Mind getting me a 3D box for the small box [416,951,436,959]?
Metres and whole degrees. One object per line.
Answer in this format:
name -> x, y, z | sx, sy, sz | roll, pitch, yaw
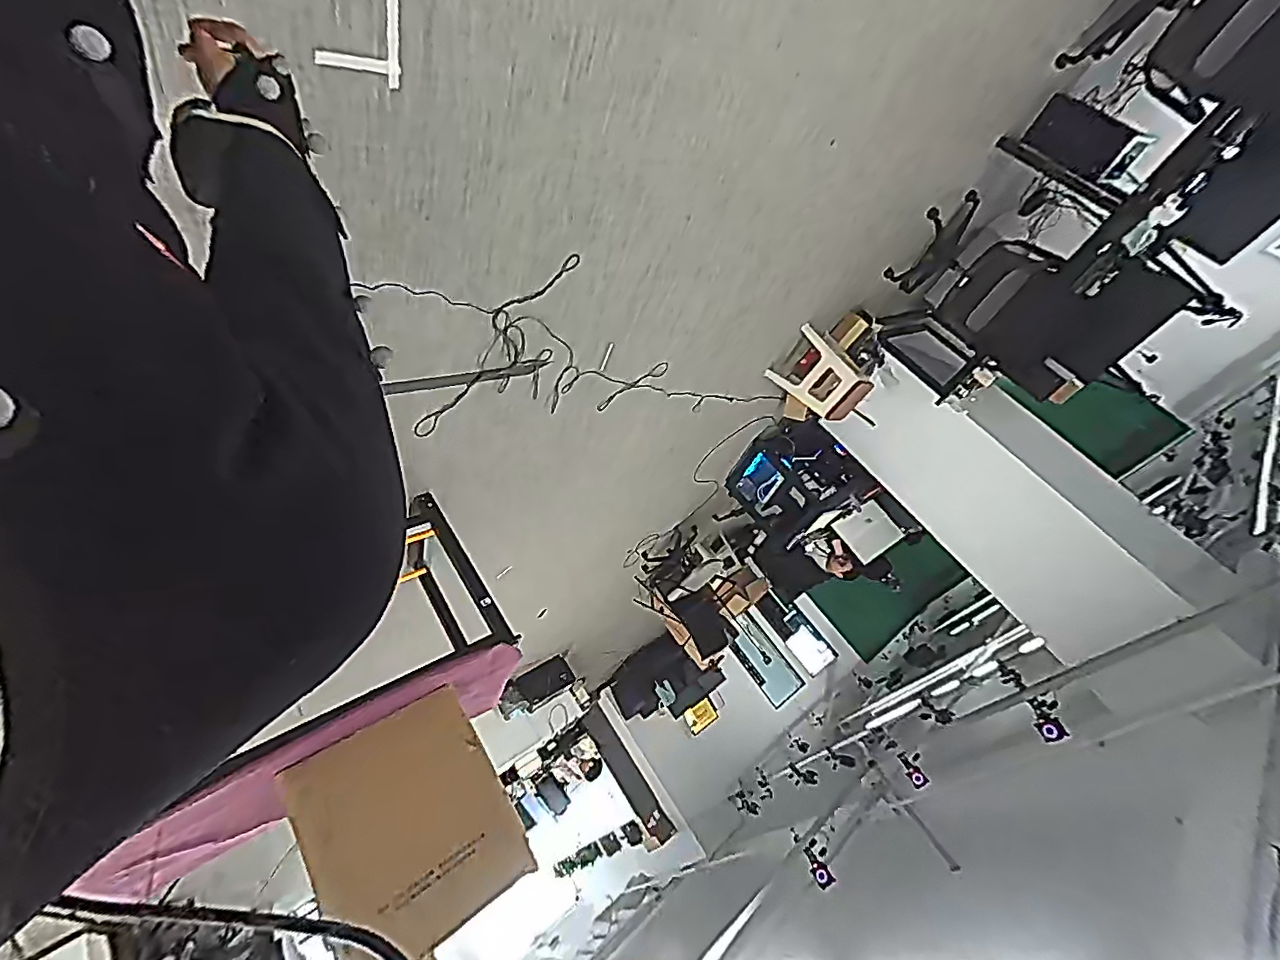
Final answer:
small box -> -0.645, 1.485, 1.531 | 0.179, 0.176, 0.168 | -21, 153, -37
